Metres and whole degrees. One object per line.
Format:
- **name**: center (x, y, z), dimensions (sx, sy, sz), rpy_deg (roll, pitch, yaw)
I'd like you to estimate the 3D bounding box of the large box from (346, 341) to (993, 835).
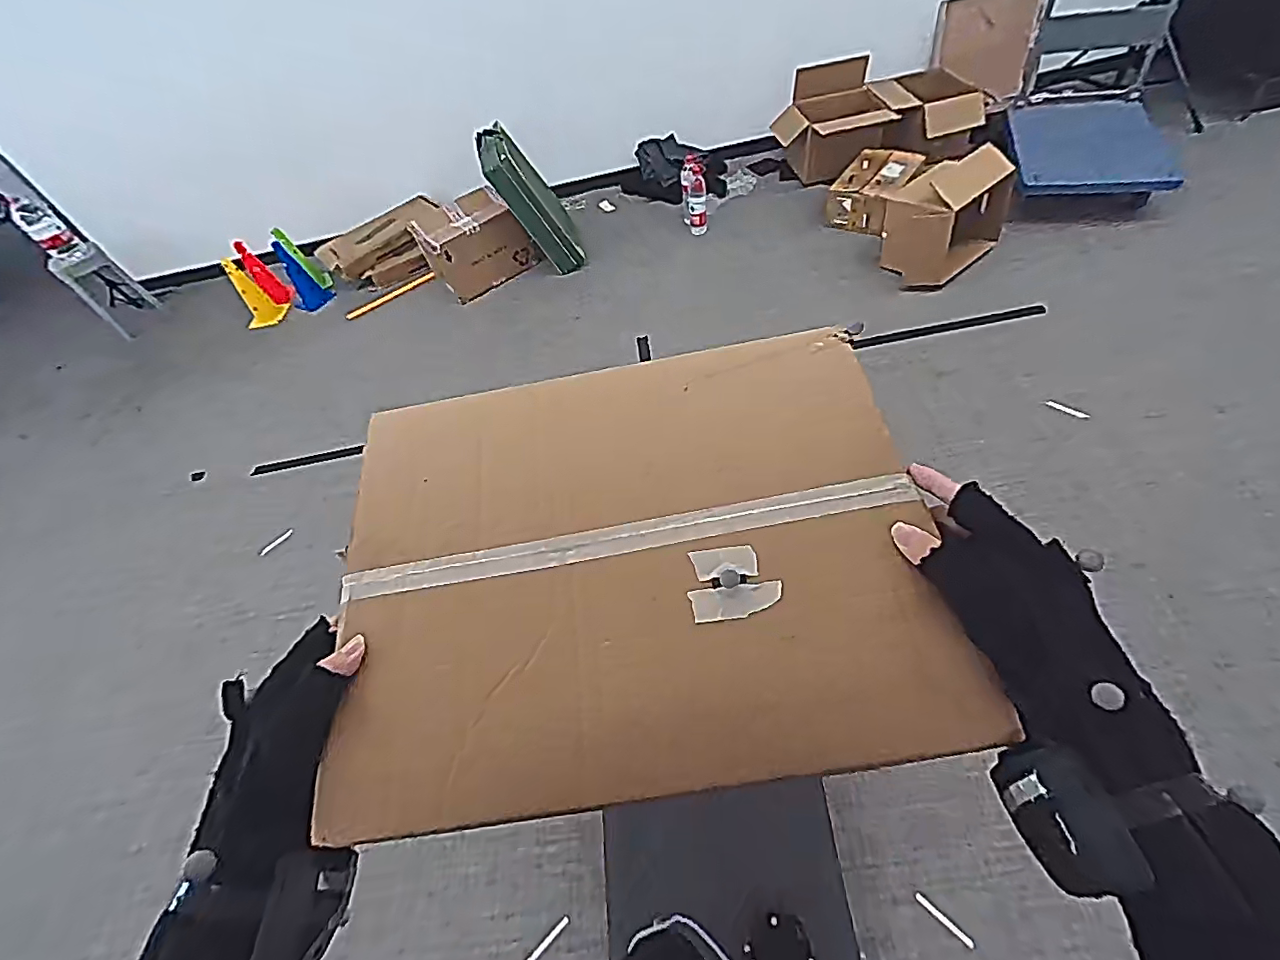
- **large box**: center (0.010, 0.120, 0.523), dimensions (0.408, 0.320, 0.320), rpy_deg (-10, 61, 2)
